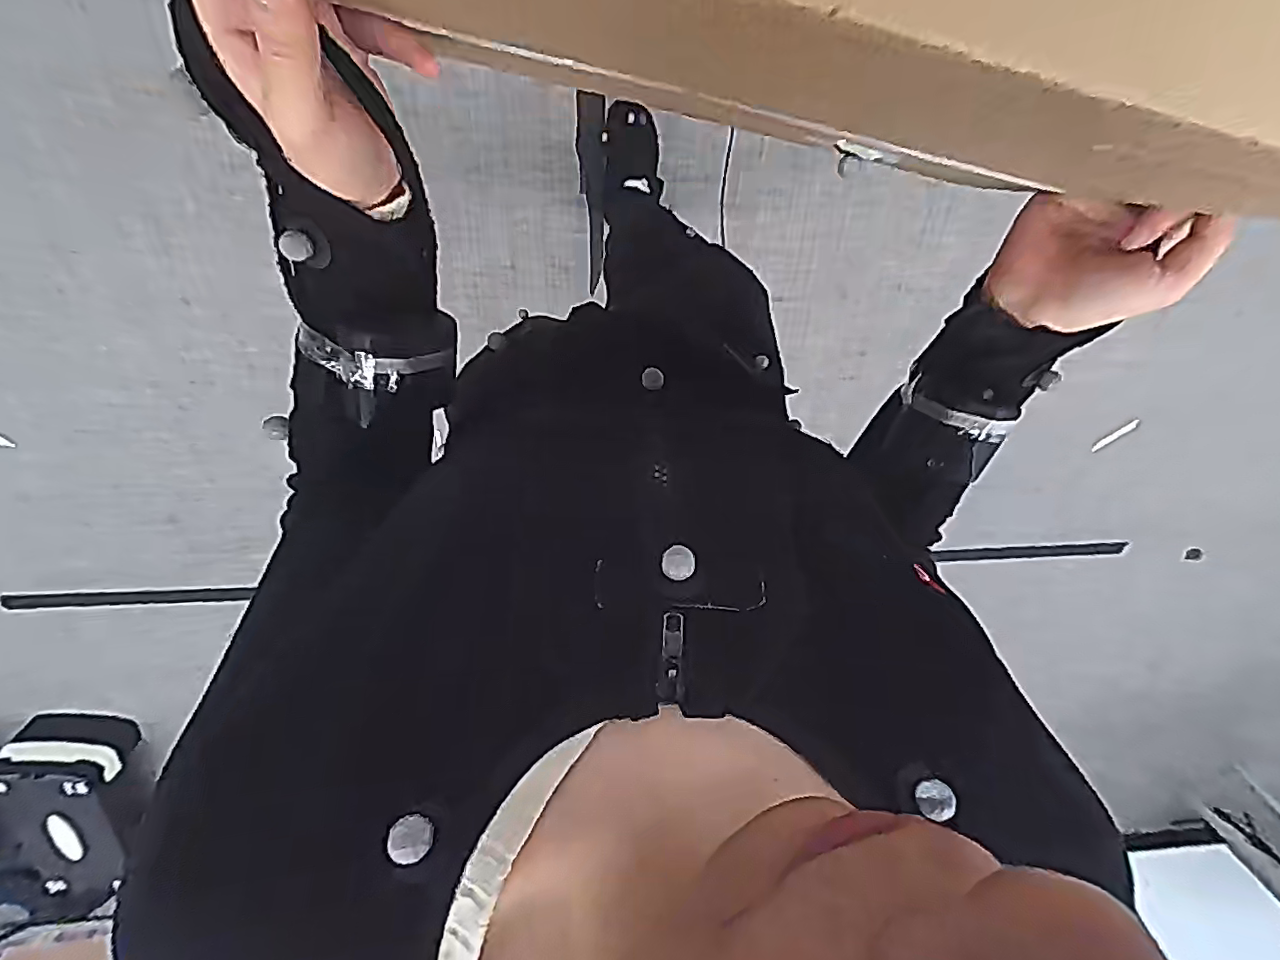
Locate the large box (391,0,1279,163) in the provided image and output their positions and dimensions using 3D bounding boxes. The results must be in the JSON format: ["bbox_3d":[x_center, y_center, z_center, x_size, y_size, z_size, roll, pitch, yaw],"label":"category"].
[{"bbox_3d":[0.095,-0.315,0.160,0.408,0.320,0.320,5,123,-12],"label":"large box"}]
